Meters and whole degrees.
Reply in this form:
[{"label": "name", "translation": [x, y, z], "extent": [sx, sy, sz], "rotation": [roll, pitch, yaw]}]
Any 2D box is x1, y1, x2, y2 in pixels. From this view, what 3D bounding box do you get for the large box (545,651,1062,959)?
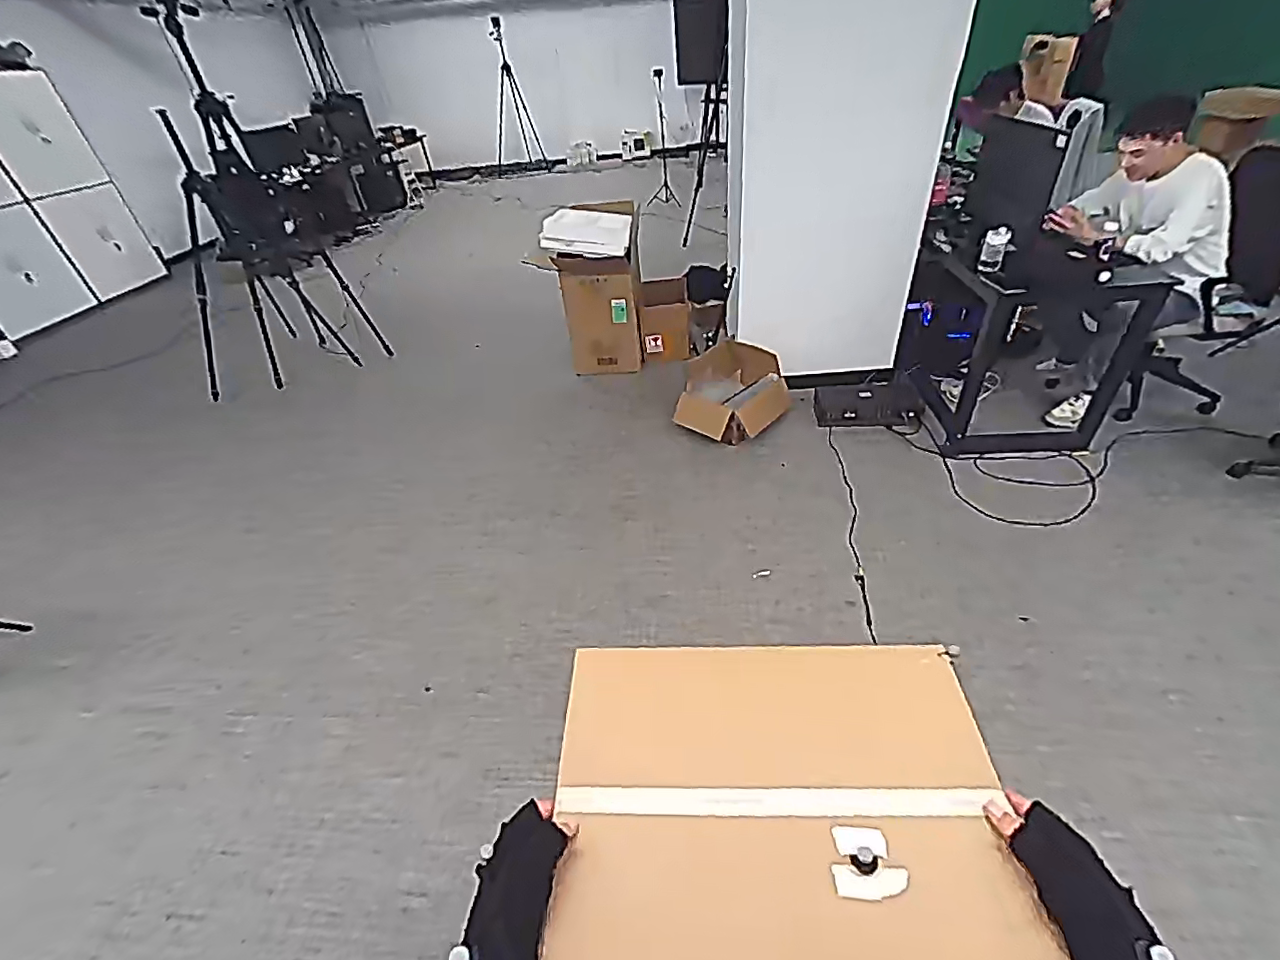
[{"label": "large box", "translation": [0.134, 0.409, 0.596], "extent": [0.408, 0.320, 0.320], "rotation": [-2, 43, 5]}]
